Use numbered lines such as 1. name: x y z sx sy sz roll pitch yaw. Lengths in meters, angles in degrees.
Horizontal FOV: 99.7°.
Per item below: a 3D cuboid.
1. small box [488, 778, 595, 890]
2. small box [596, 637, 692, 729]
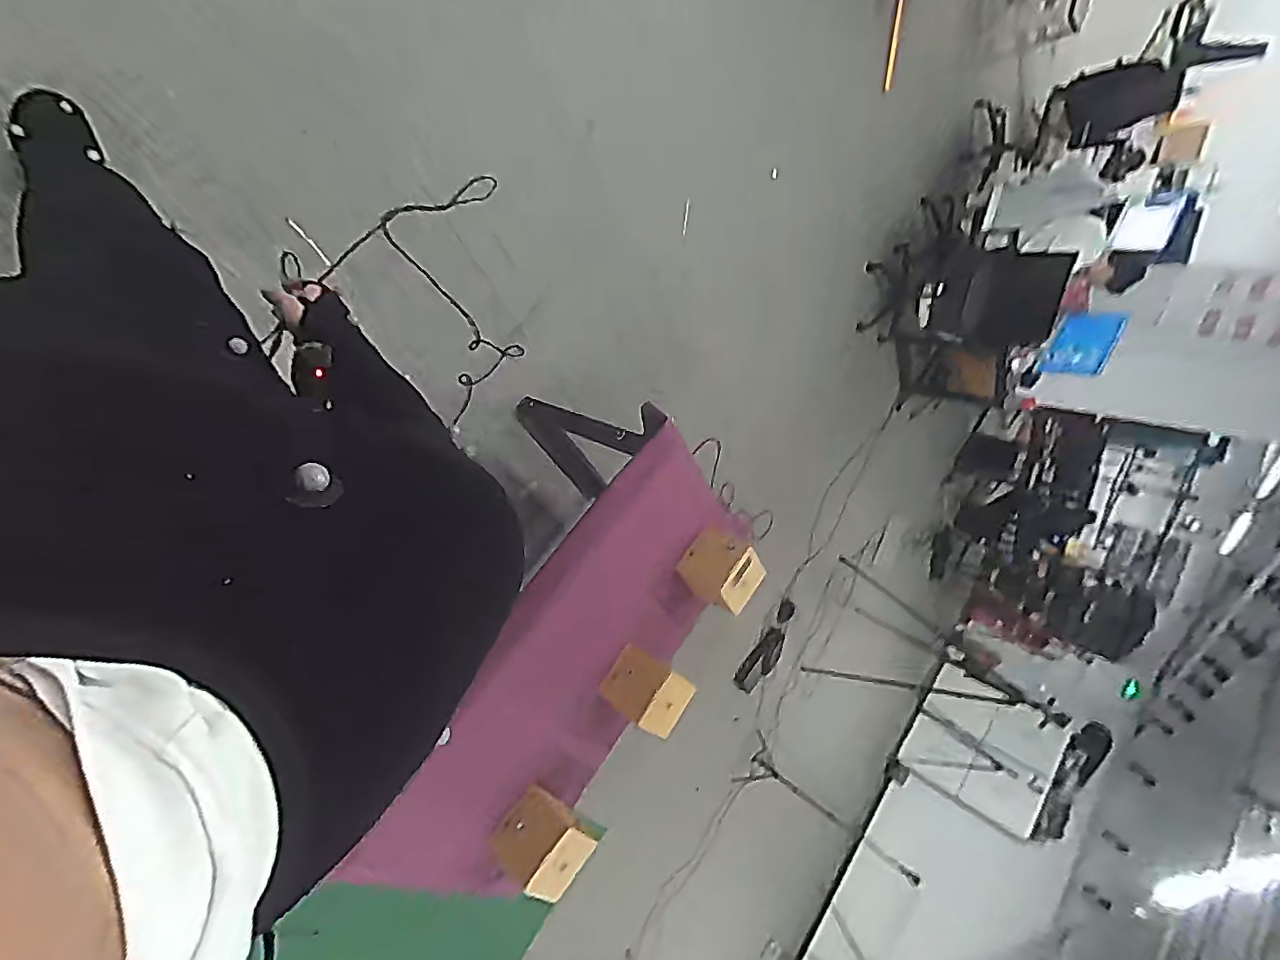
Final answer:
1. small box: -0.255 0.914 1.405 0.168 0.176 0.179 -48 135 -22
2. small box: 0.011 0.575 1.540 0.168 0.176 0.179 -55 137 -13
